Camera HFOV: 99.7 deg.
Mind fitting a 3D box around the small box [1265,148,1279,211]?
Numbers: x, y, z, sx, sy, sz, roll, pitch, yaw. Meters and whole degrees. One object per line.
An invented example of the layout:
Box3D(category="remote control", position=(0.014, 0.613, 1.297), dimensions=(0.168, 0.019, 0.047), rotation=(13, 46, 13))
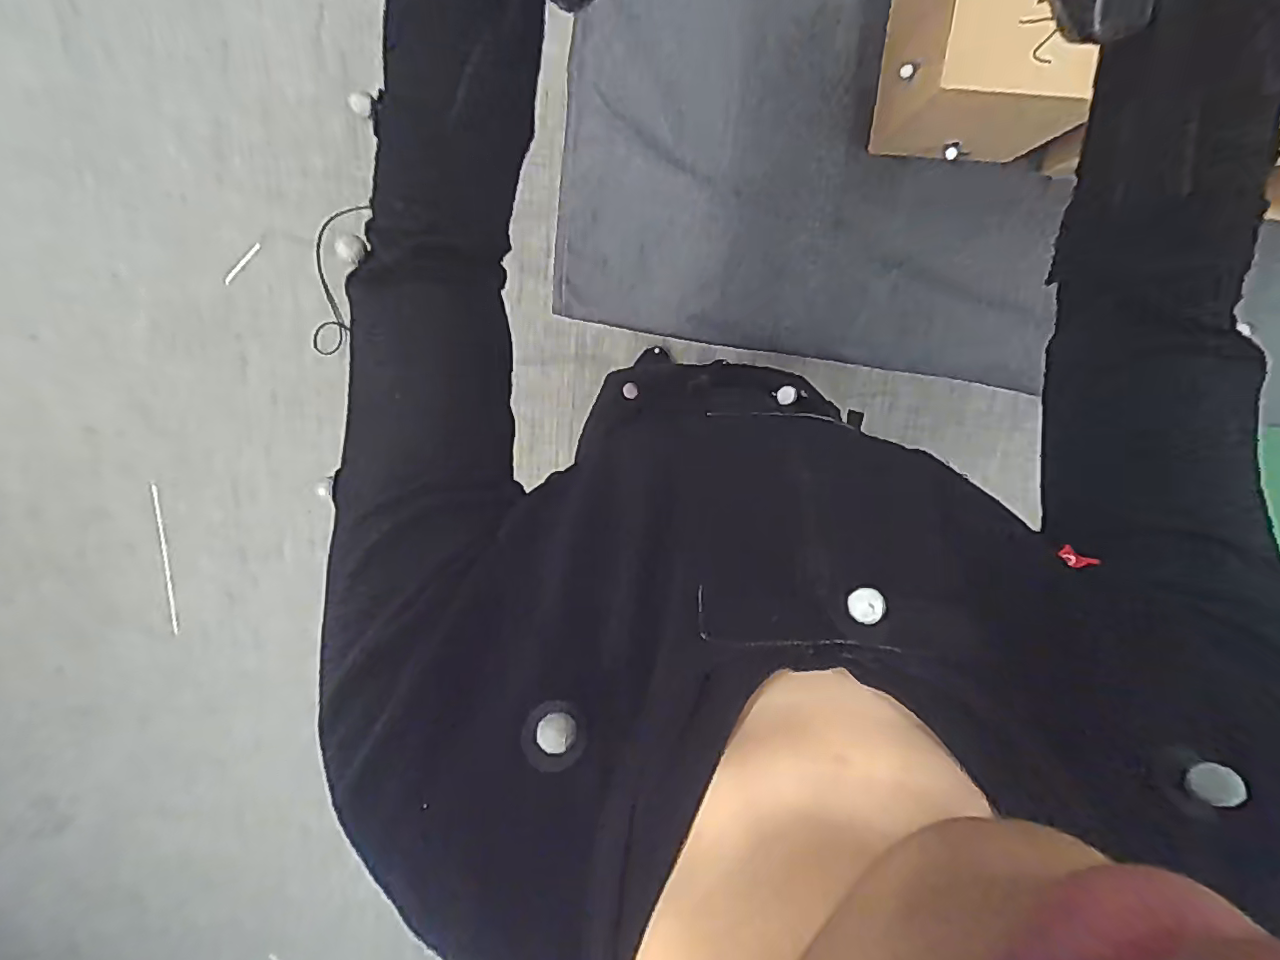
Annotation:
Box3D(category="small box", position=(0.805, -0.361, 0.533), dimensions=(0.168, 0.176, 0.179), rotation=(7, 103, 1))
